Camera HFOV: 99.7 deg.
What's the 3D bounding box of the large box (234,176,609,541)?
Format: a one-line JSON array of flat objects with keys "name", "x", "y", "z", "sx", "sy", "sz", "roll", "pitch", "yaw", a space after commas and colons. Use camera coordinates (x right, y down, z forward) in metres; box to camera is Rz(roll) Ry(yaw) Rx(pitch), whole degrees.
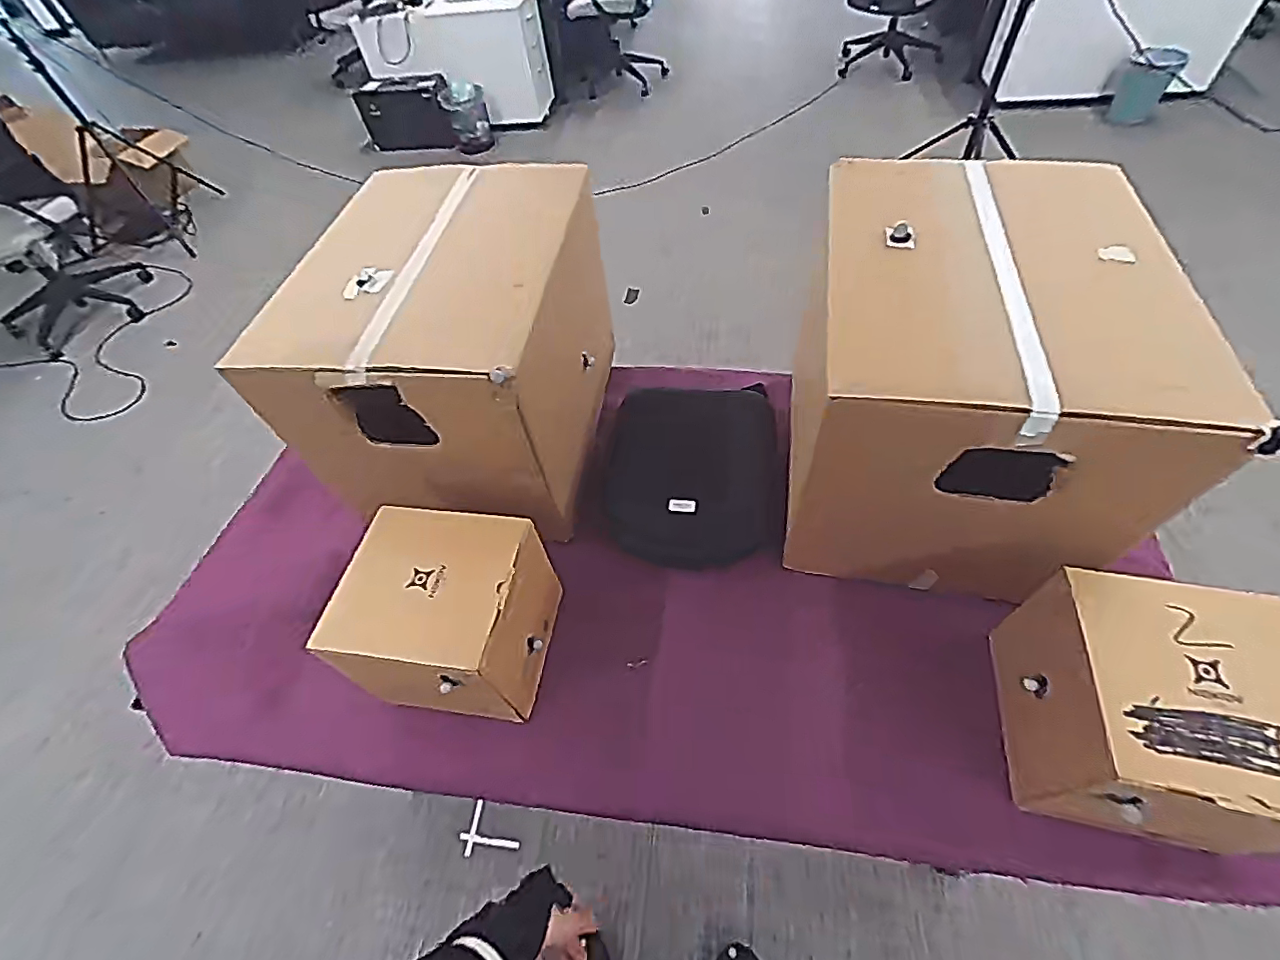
[{"name": "large box", "x": -0.231, "y": -0.167, "z": 0.756, "sx": 0.320, "sy": 0.320, "sz": 0.408, "roll": 2, "pitch": 56, "yaw": 8}]
